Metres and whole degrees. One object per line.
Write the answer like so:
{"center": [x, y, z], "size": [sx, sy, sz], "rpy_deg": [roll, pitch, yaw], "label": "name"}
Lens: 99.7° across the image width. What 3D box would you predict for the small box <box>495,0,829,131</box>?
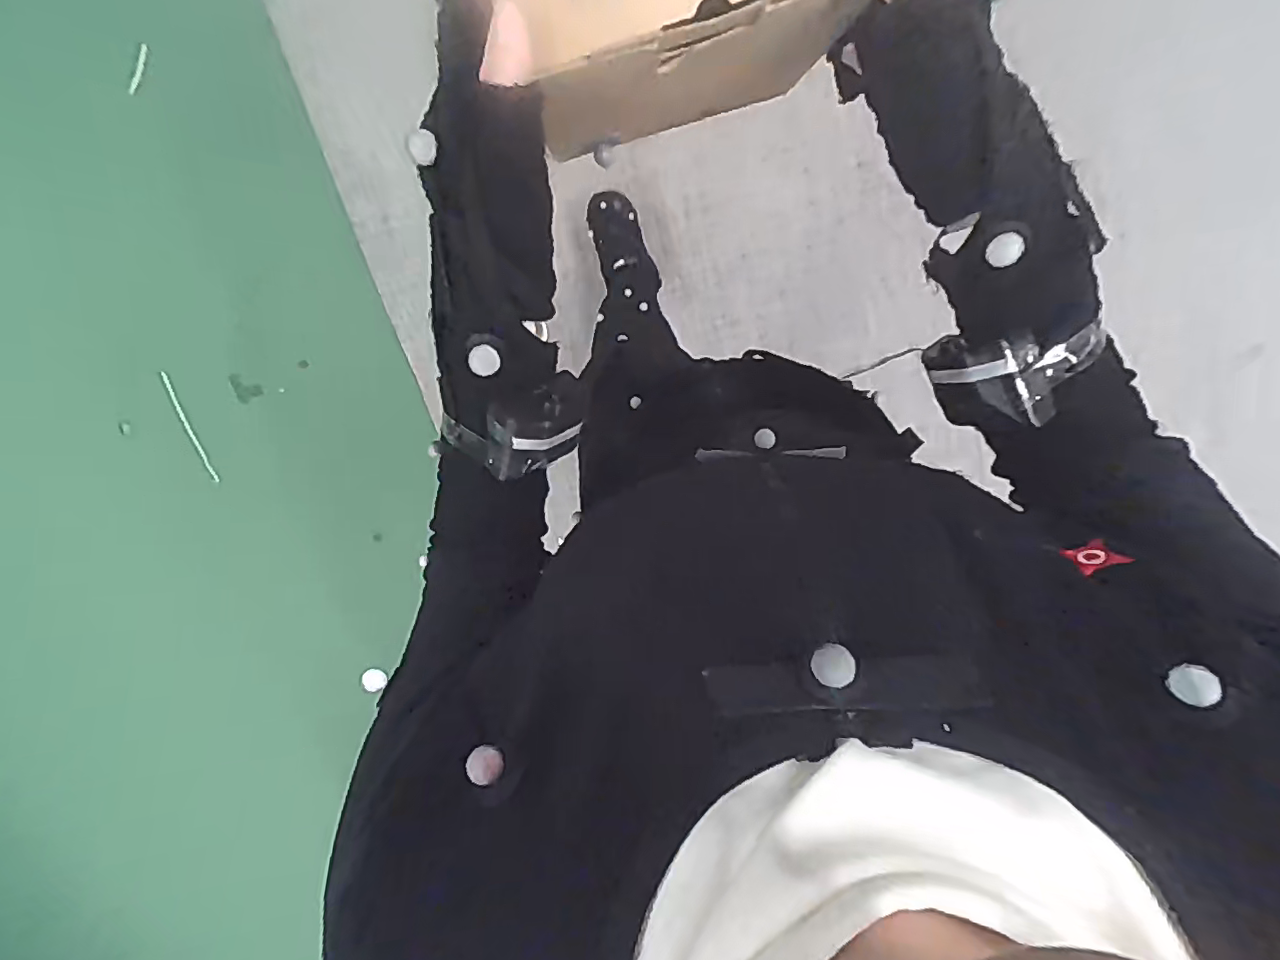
{"center": [0.002, -0.300, 0.267], "size": [0.168, 0.176, 0.179], "rpy_deg": [-15, 110, 4], "label": "small box"}
